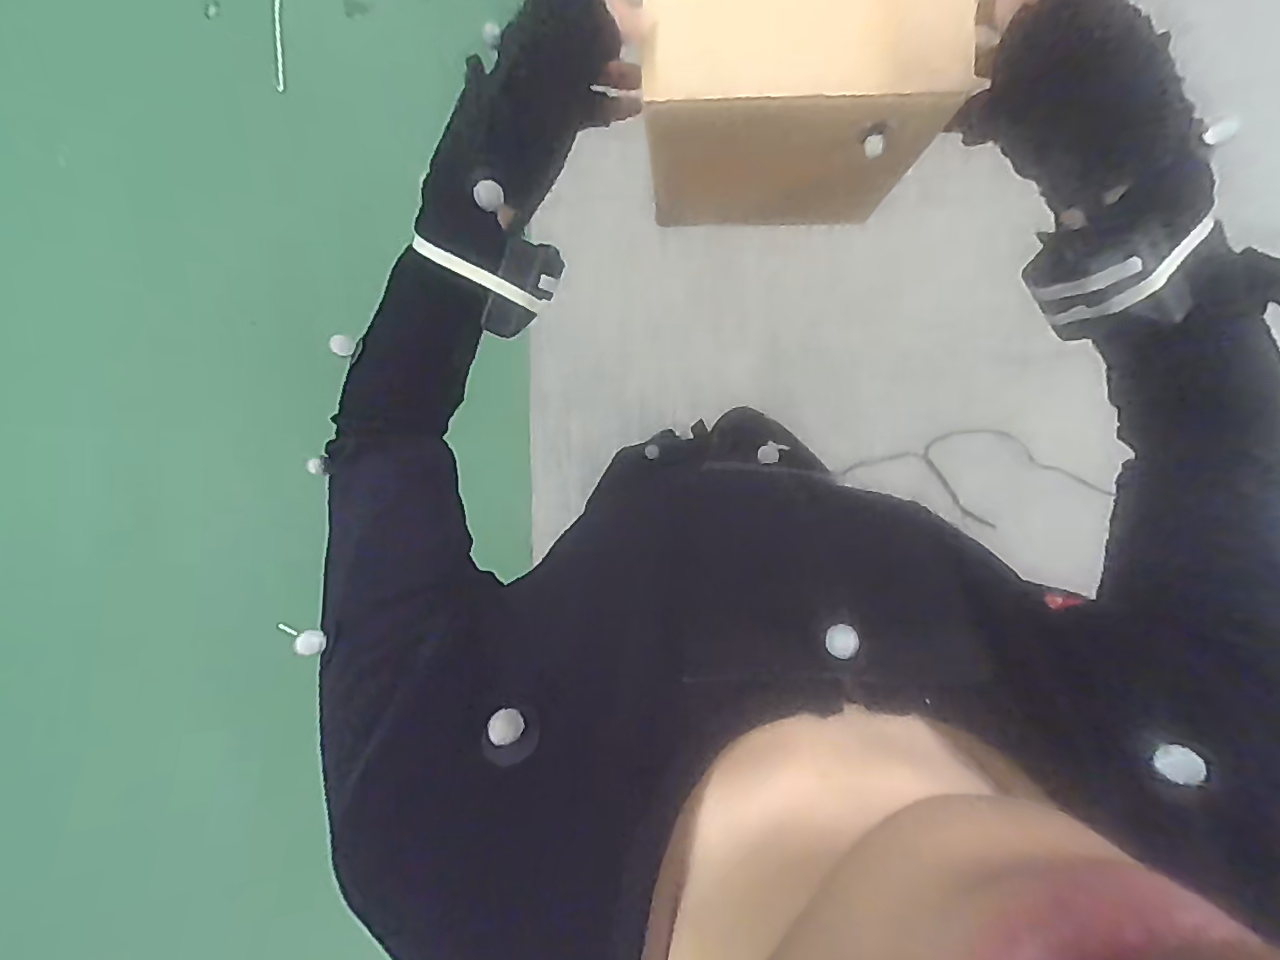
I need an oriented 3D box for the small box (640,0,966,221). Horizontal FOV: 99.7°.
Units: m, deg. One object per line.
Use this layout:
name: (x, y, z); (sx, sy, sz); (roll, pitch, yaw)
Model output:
small box: (0.093, -0.295, 0.372); (0.179, 0.176, 0.168); (0, 93, 3)
